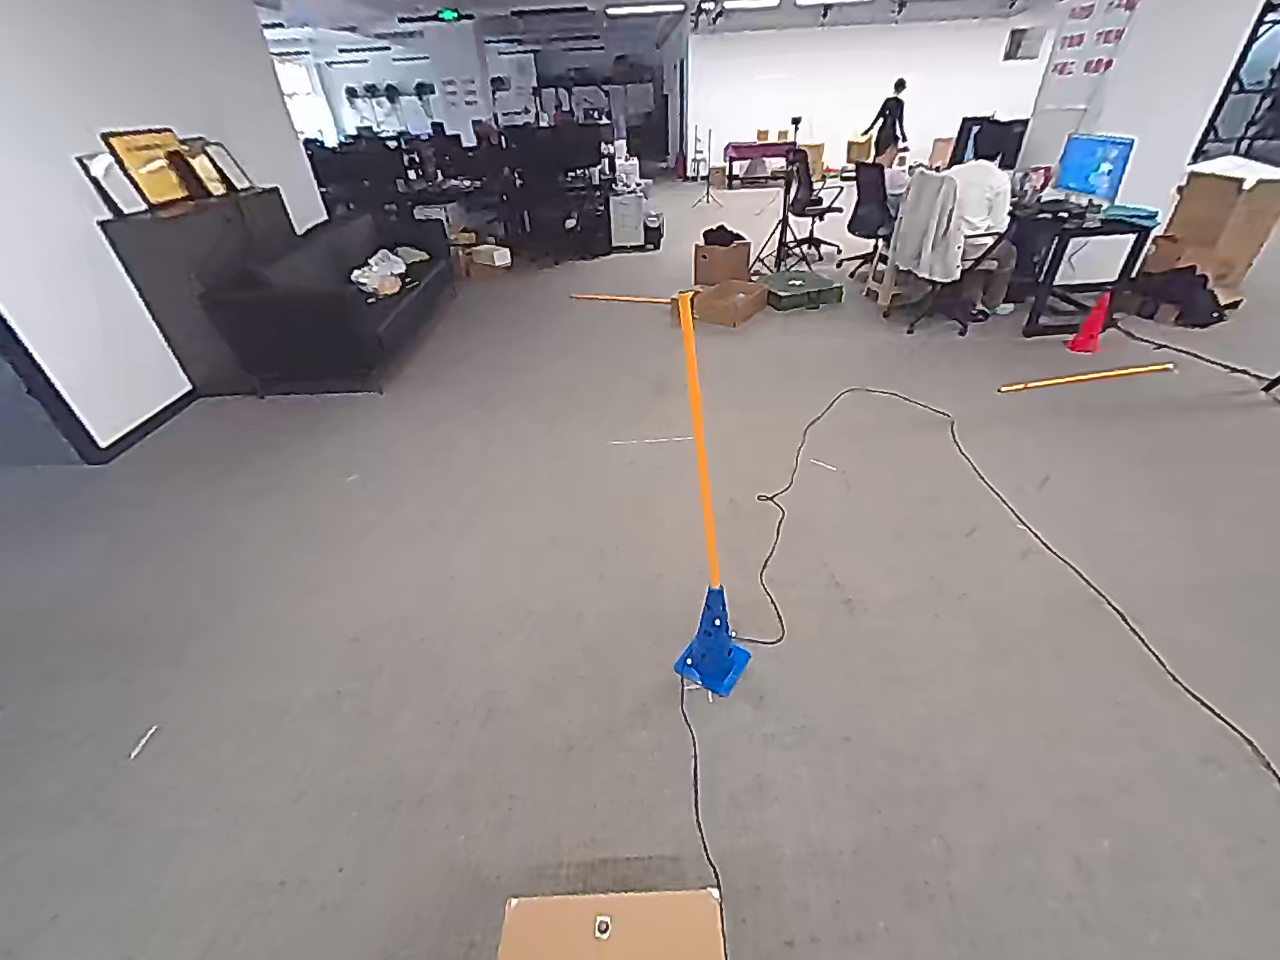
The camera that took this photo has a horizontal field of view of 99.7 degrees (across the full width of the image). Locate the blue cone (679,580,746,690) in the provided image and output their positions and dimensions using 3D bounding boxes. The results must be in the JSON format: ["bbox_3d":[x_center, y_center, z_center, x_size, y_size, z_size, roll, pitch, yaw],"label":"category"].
[{"bbox_3d":[0.230,0.459,1.683,0.192,0.380,0.193,17,41,28],"label":"blue cone"}]
